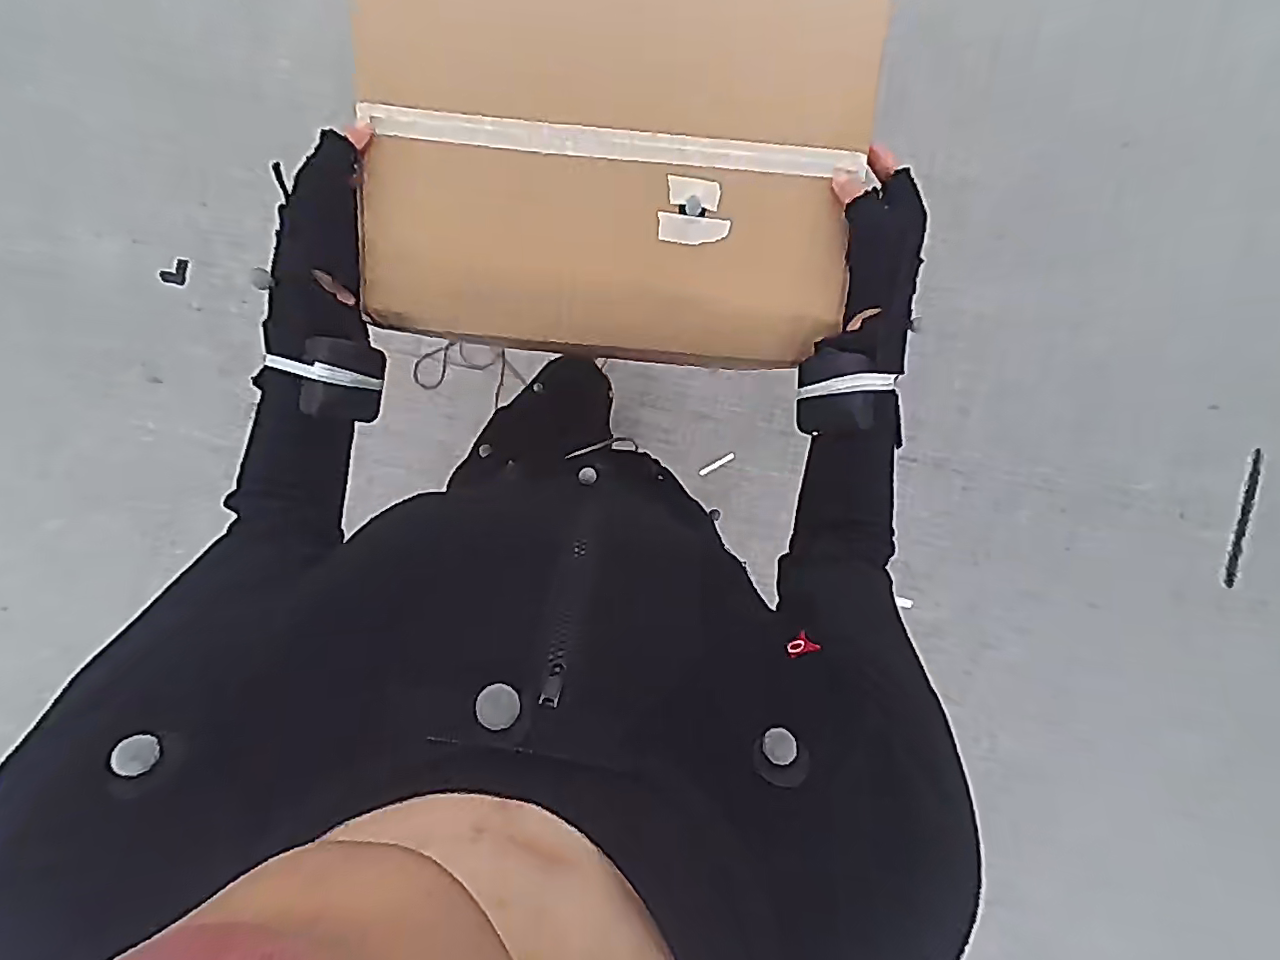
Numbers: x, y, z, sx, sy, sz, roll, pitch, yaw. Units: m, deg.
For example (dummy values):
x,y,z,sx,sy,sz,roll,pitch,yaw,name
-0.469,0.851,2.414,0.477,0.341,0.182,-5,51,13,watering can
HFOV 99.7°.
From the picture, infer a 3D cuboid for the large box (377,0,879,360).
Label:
x,y,z,sx,sy,sz,roll,pitch,yaw,name
-0.021,-0.306,0.592,0.408,0.320,0.320,5,102,-3,large box
